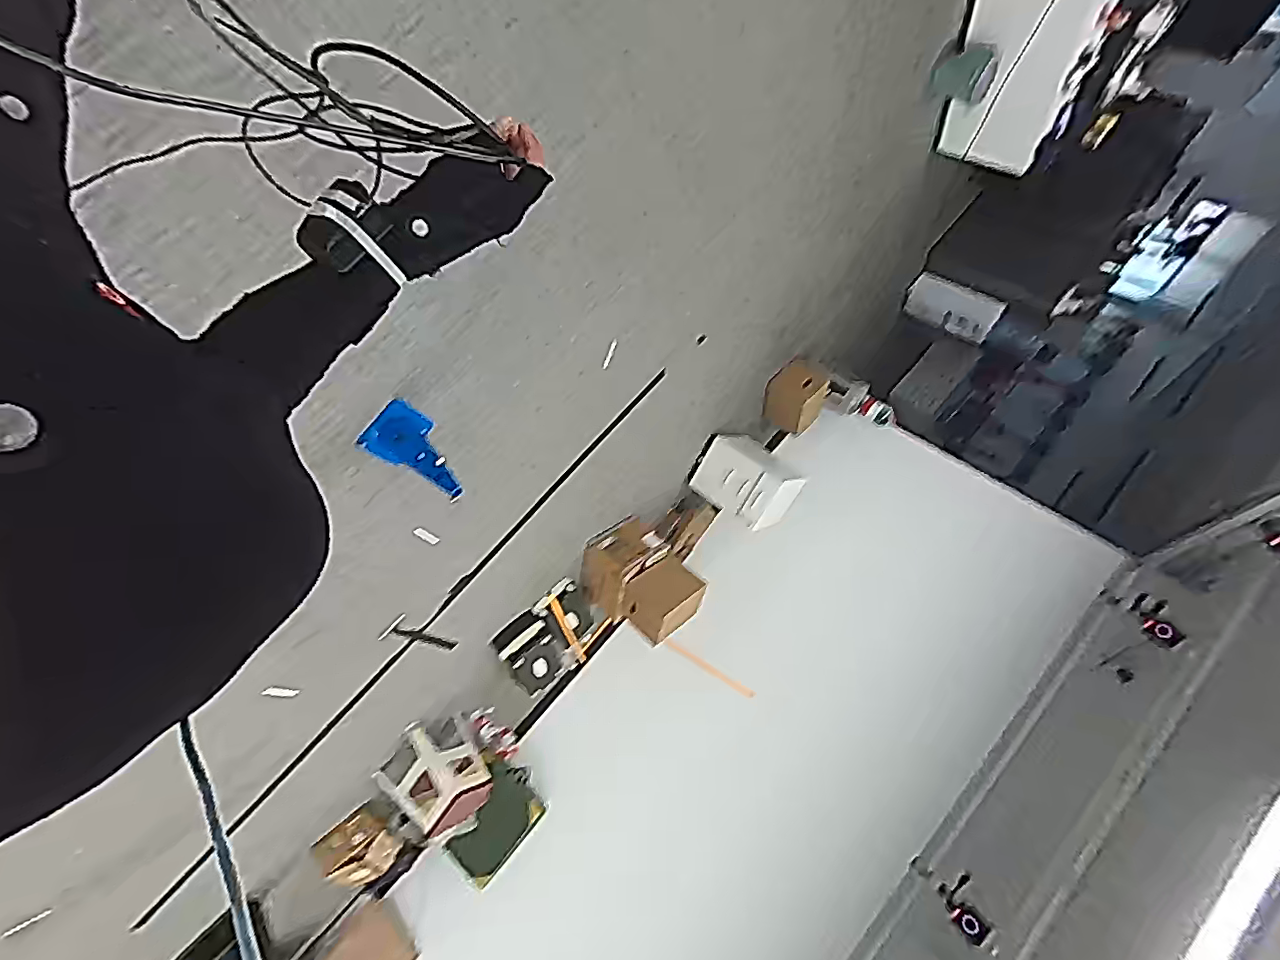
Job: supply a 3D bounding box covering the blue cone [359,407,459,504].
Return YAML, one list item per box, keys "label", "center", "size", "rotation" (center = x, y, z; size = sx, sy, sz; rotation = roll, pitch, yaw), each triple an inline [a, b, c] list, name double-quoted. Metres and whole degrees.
- label: "blue cone"
  center: [-0.685, -0.052, 1.708]
  size: [0.192, 0.380, 0.193]
  rotation: [-49, 154, -5]
